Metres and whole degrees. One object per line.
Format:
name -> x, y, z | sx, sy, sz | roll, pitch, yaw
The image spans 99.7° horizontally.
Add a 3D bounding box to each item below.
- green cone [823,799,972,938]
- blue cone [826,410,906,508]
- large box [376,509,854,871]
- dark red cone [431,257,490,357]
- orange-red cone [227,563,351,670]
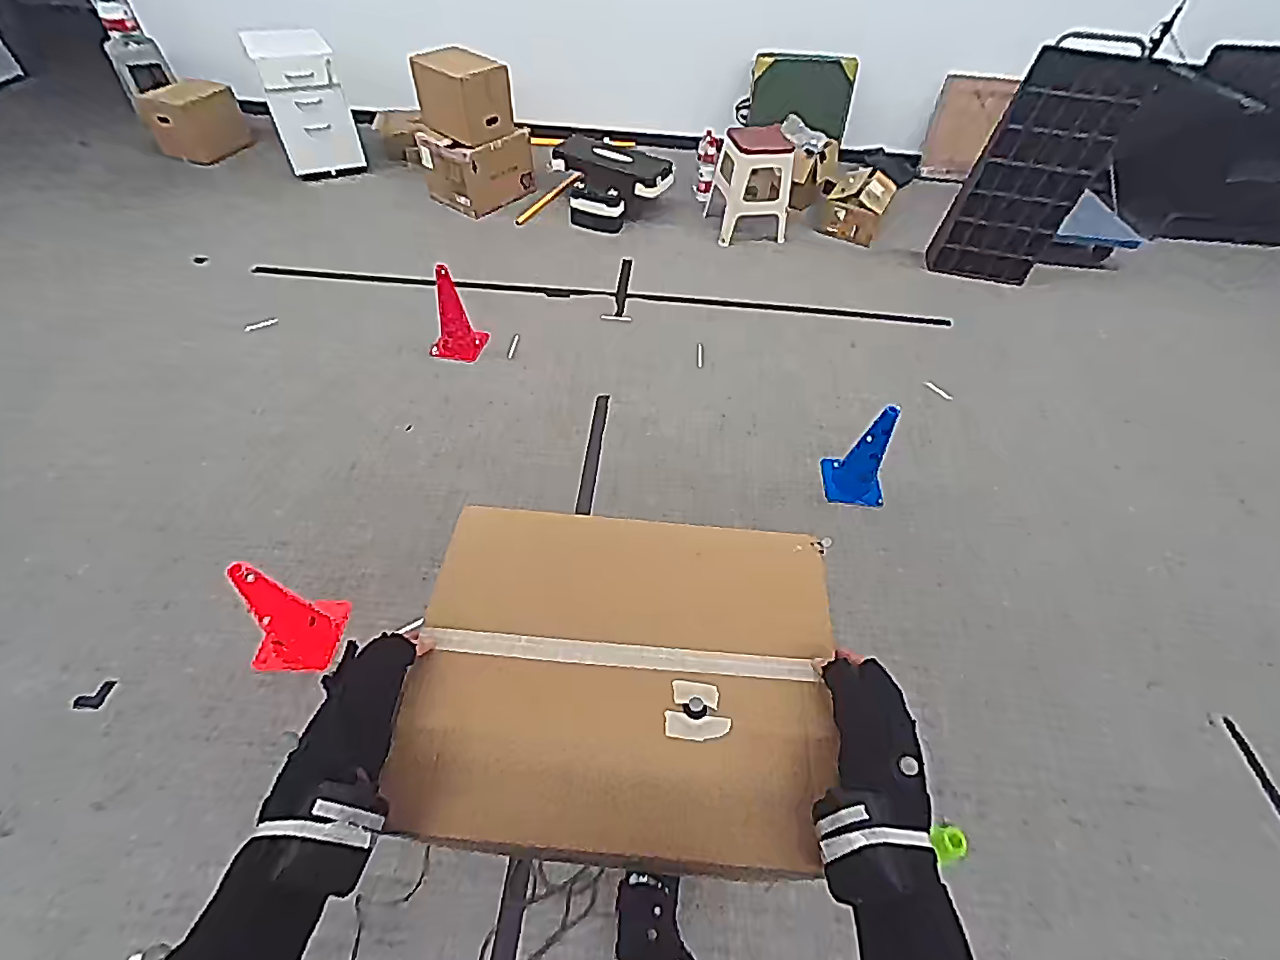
green cone -> 0.545, 0.748, 1.076 | 0.202, 0.368, 0.200 | -25, 57, -24
blue cone -> 0.776, -0.087, 1.804 | 0.192, 0.380, 0.193 | 8, 51, 1
large box -> -0.019, 0.259, 0.648 | 0.408, 0.320, 0.320 | 5, 53, 1
dark red cone -> -0.742, -0.692, 2.150 | 0.201, 0.394, 0.202 | 10, 51, 3
orange-red cone -> -0.905, 0.312, 1.340 | 0.198, 0.360, 0.199 | 3, 52, -1
